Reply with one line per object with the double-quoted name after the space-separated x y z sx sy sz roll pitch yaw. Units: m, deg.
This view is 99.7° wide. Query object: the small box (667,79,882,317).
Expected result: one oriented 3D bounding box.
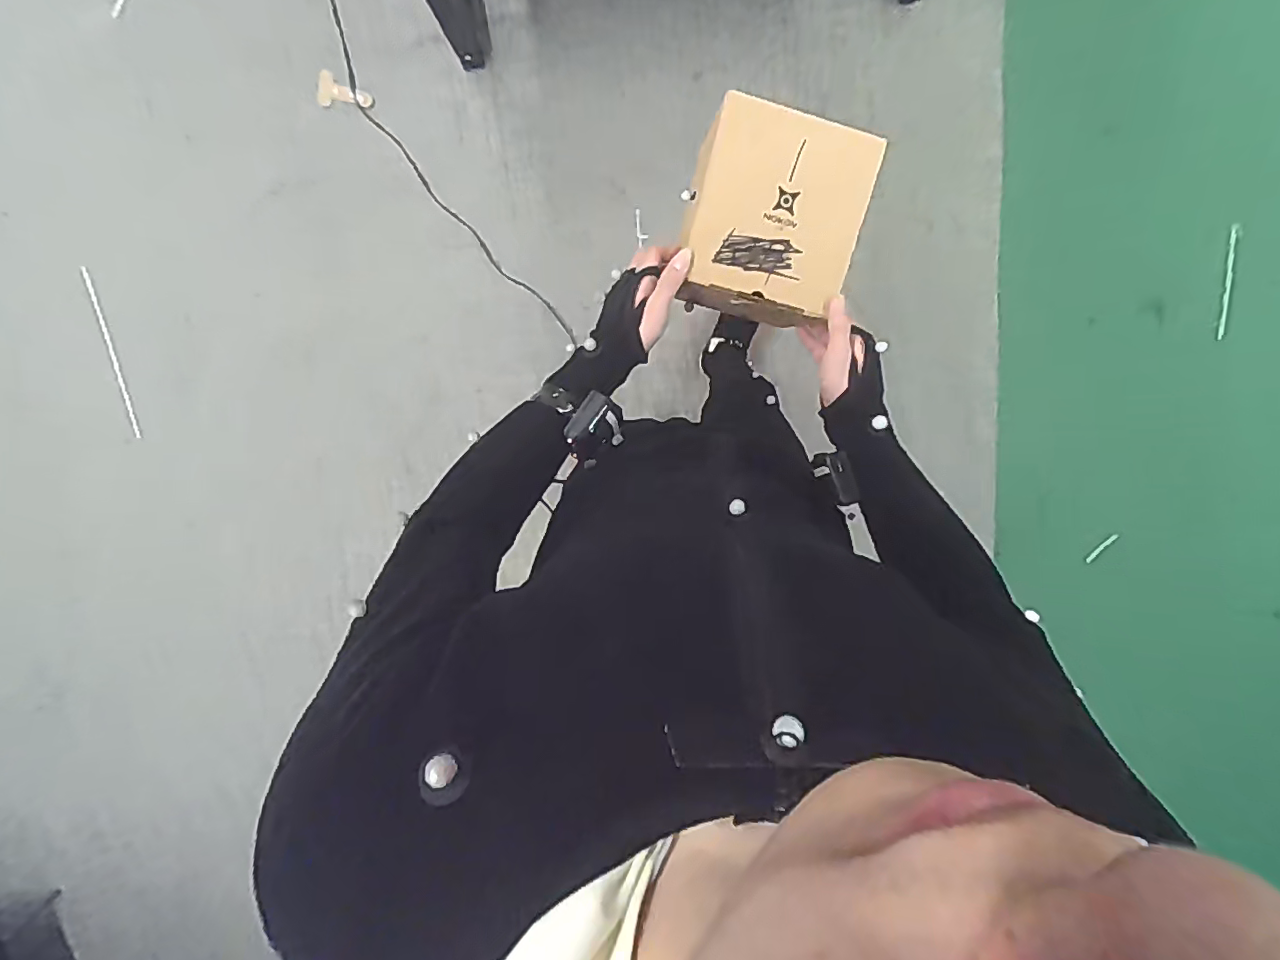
0.131 -0.291 0.606 0.168 0.176 0.179 13 100 -6 "small box"
